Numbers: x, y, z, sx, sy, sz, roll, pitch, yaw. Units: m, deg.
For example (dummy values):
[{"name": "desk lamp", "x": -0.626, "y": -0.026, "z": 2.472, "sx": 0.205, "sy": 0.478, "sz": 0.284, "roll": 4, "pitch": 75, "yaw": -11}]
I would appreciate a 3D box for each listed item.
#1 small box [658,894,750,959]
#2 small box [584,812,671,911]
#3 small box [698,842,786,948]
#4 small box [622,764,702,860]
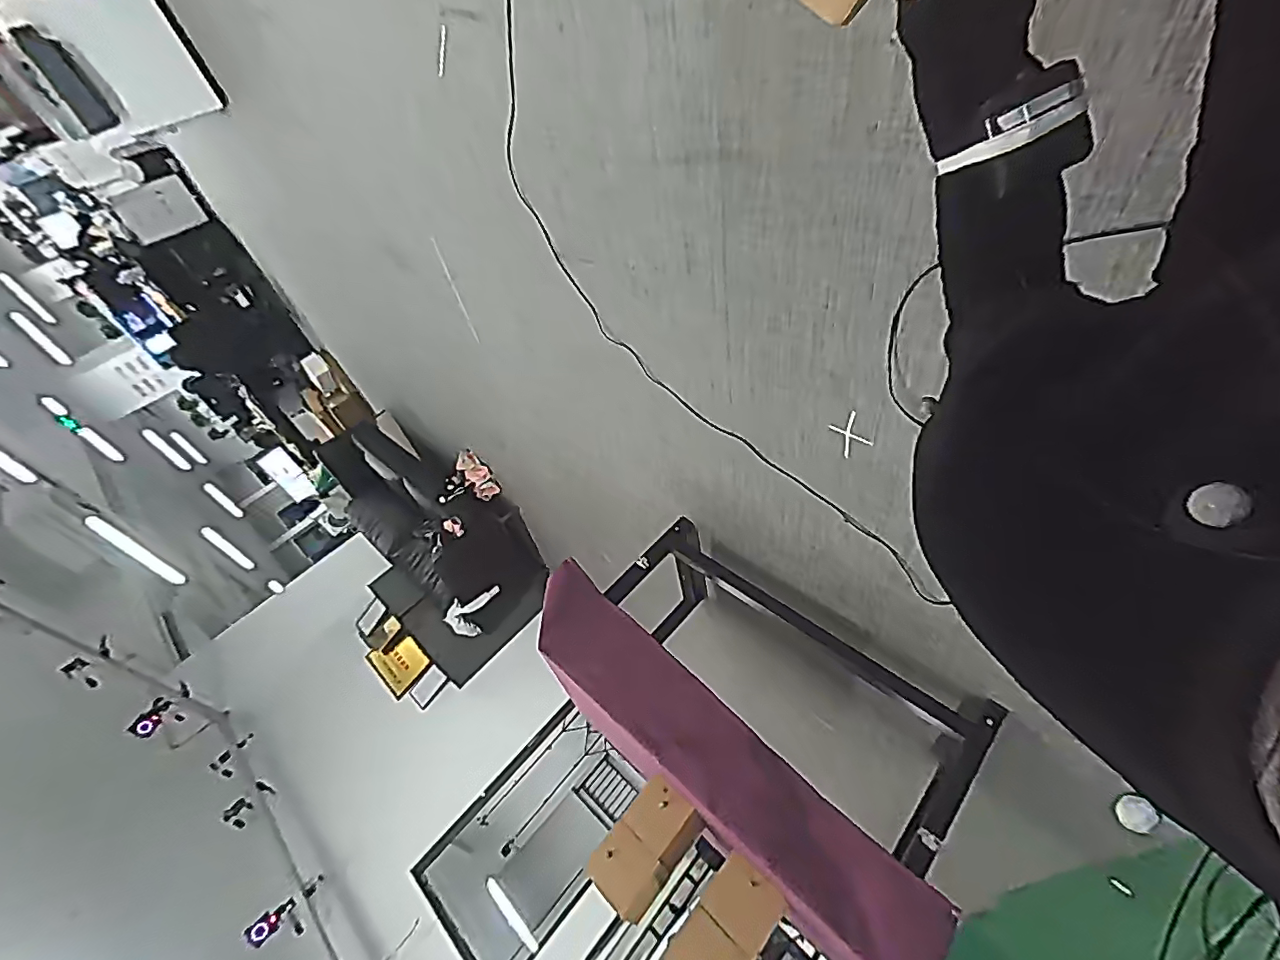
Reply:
[{"name": "small box", "x": 0.177, "y": 1.257, "z": 1.454, "sx": 0.179, "sy": 0.176, "sz": 0.168, "roll": 29, "pitch": 149, "yaw": 35}, {"name": "small box", "x": -0.033, "y": 1.135, "z": 1.622, "sx": 0.179, "sy": 0.176, "sz": 0.168, "roll": 27, "pitch": 149, "yaw": 38}, {"name": "small box", "x": 0.289, "y": 1.156, "z": 1.520, "sx": 0.179, "sy": 0.176, "sz": 0.168, "roll": 30, "pitch": 150, "yaw": 35}, {"name": "small box", "x": 0.077, "y": 1.035, "z": 1.693, "sx": 0.168, "sy": 0.176, "sz": 0.179, "roll": 25, "pitch": 147, "yaw": 39}]
